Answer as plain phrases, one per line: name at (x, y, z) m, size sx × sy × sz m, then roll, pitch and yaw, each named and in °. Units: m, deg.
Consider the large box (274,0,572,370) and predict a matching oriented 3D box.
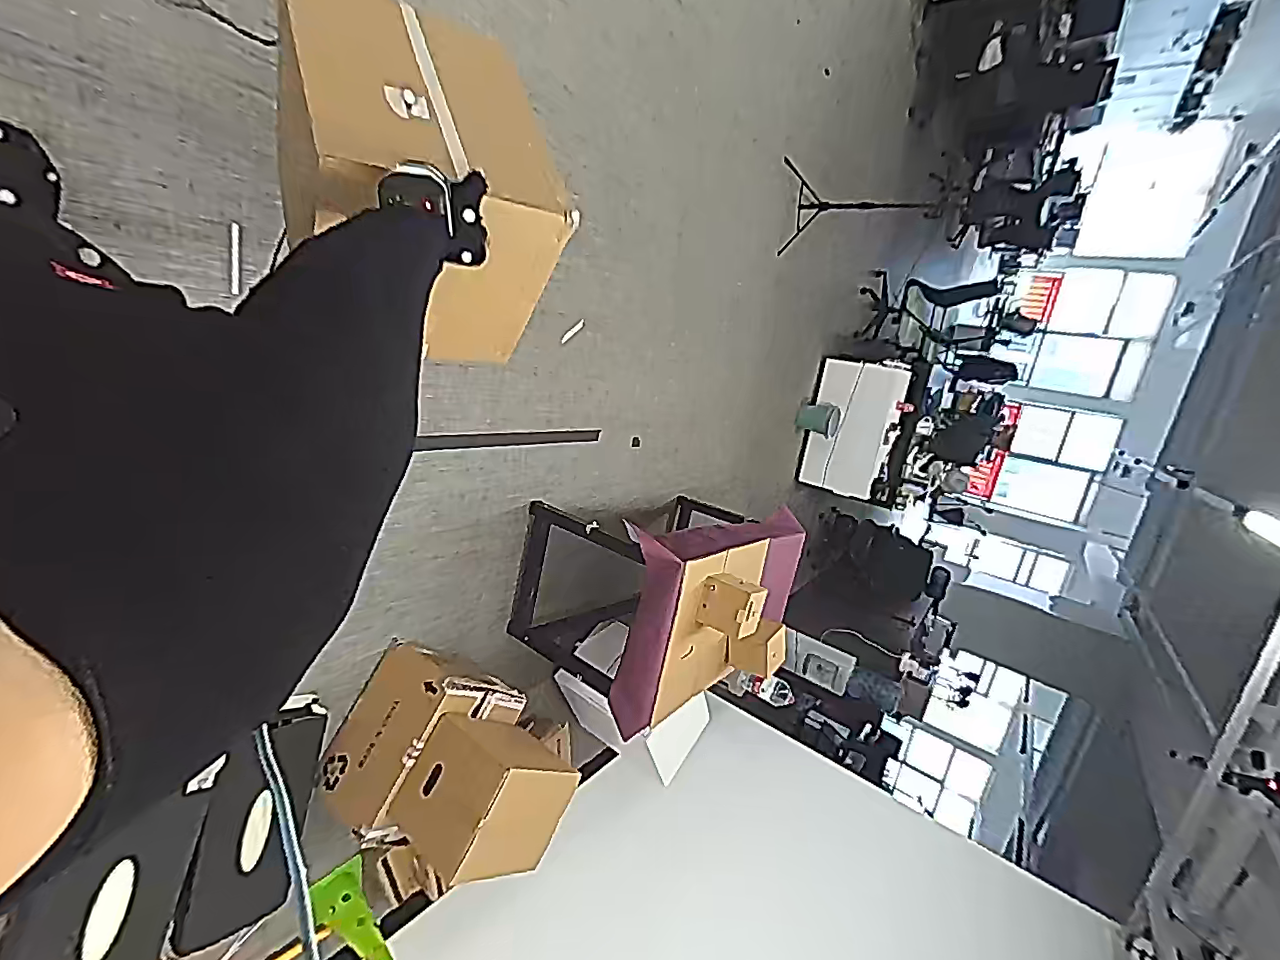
large box at (-0.363, -0.434, 0.853) m, size 0.320 × 0.408 × 0.320 m, roll -5°, pitch 154°, yaw -38°
